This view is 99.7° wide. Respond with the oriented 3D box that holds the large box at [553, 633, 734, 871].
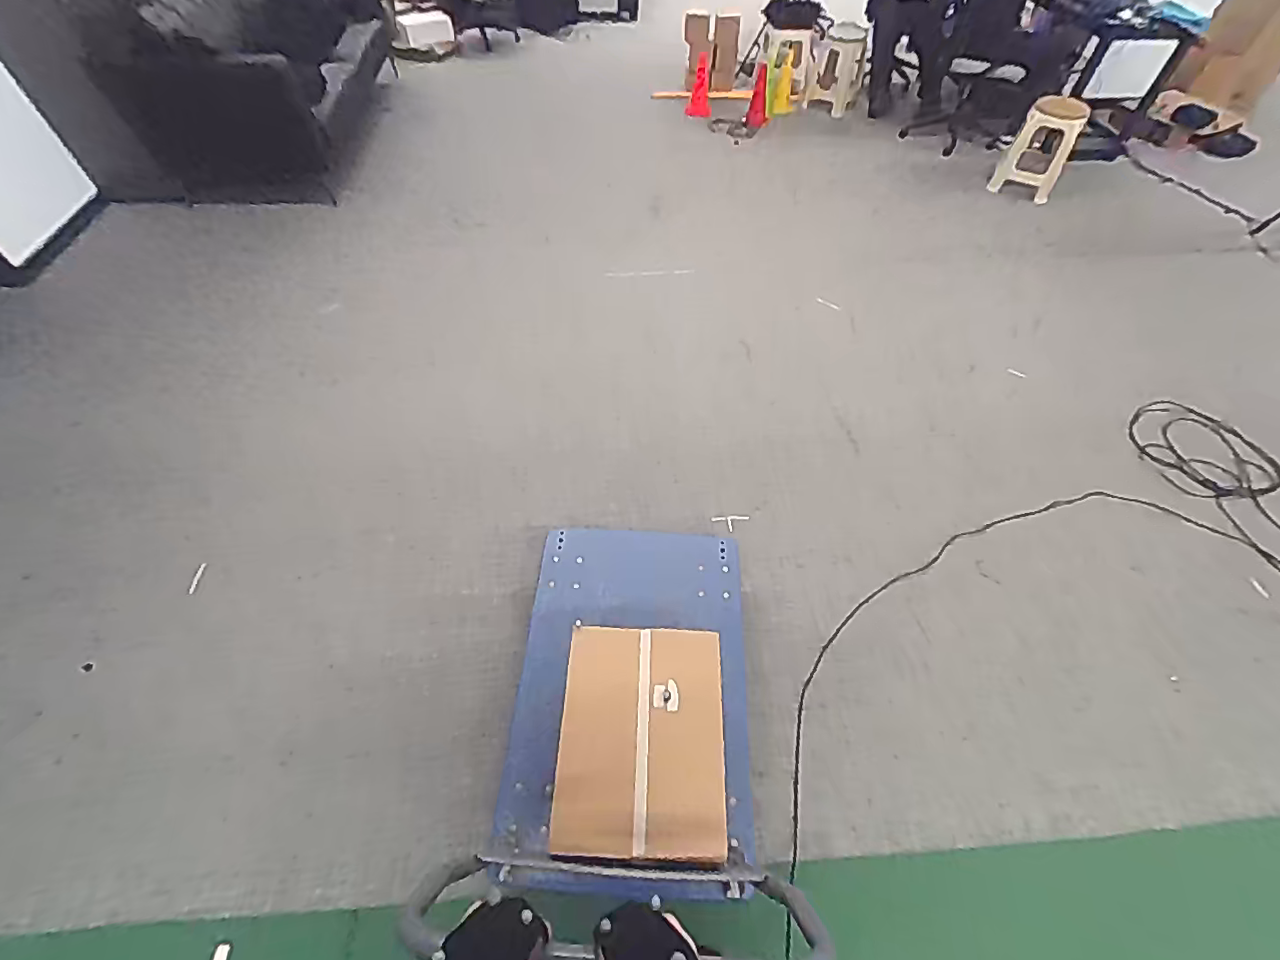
[{"bbox_3d":[0.010,0.577,1.142,0.320,0.320,0.408,3,54,0],"label":"large box"}]
